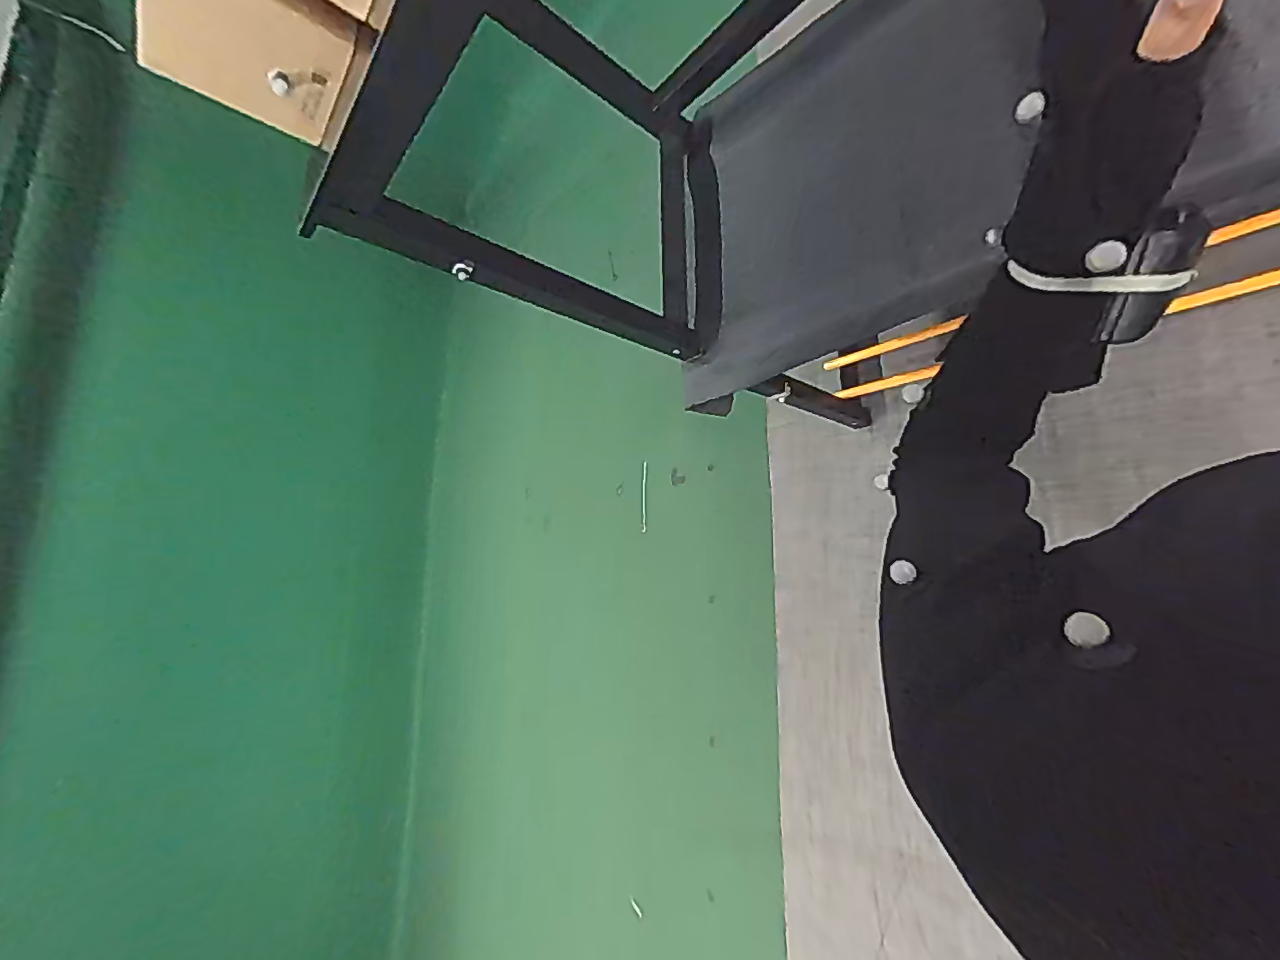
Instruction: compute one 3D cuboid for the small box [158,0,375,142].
[{"bbox_3d":[-0.392,-0.518,0.580,0.168,0.176,0.179,-14,73,48],"label":"small box"}]
